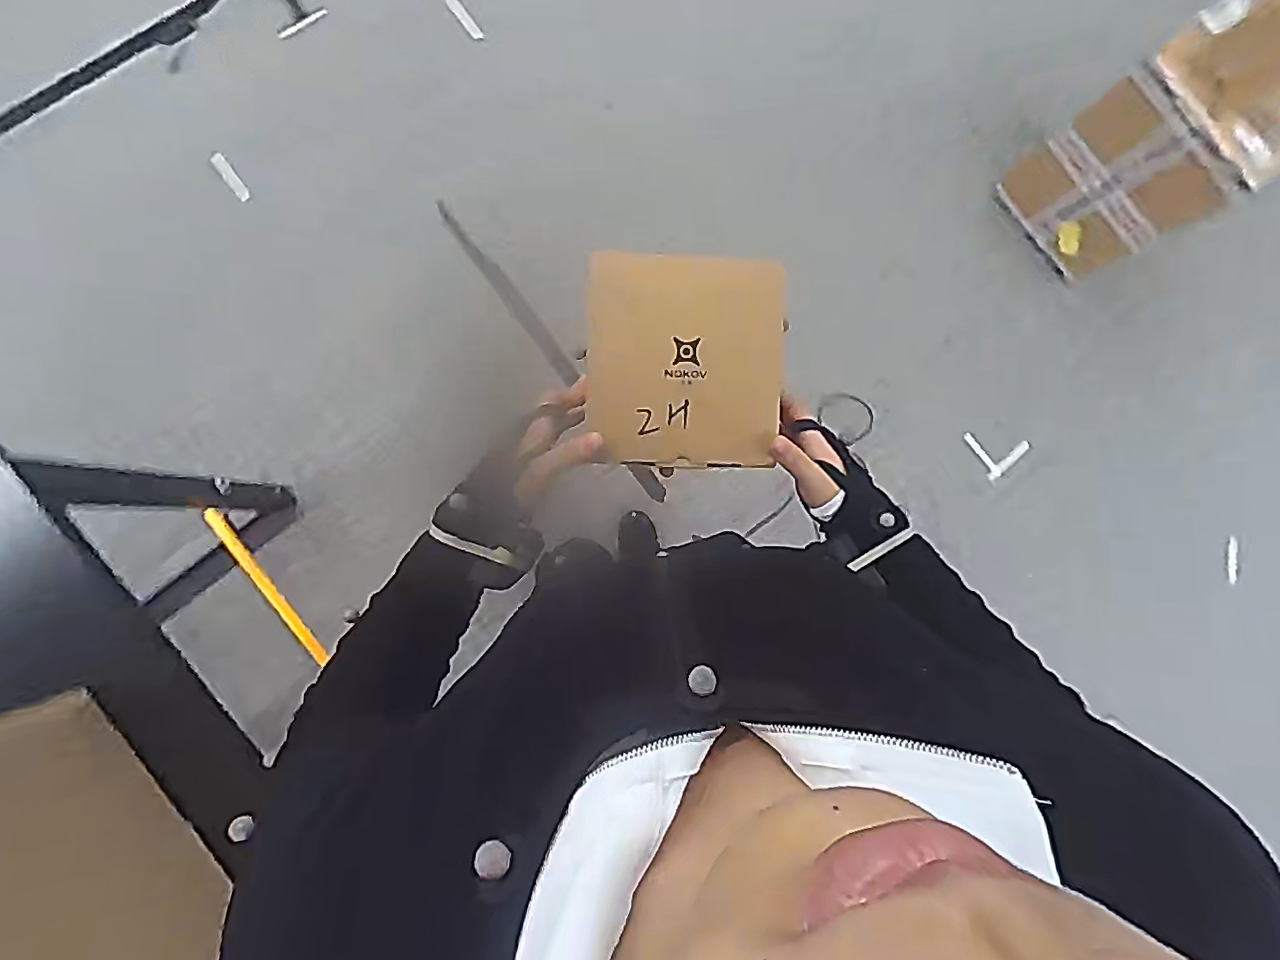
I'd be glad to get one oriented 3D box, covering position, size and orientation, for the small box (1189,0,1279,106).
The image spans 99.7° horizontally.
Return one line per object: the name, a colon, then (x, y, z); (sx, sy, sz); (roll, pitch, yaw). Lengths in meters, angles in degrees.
small box: (1.346, -0.954, 1.142); (0.179, 0.176, 0.168); (-40, 89, -4)
